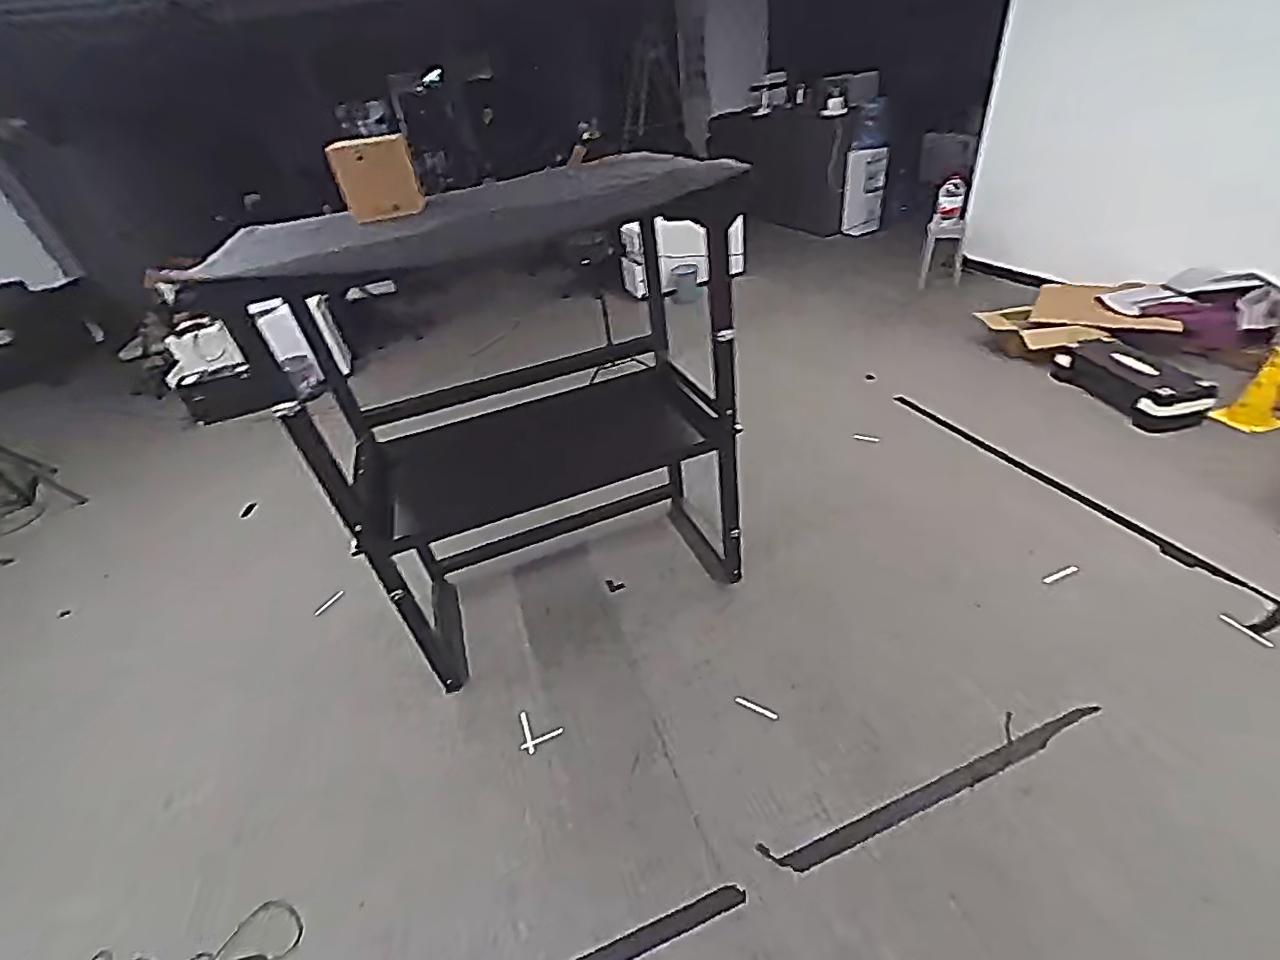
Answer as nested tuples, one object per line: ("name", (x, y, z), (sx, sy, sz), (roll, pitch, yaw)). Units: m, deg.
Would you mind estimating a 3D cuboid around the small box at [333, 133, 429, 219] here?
("small box", (-0.657, -0.784, 1.394), (0.168, 0.176, 0.179), (-15, 37, -8))
